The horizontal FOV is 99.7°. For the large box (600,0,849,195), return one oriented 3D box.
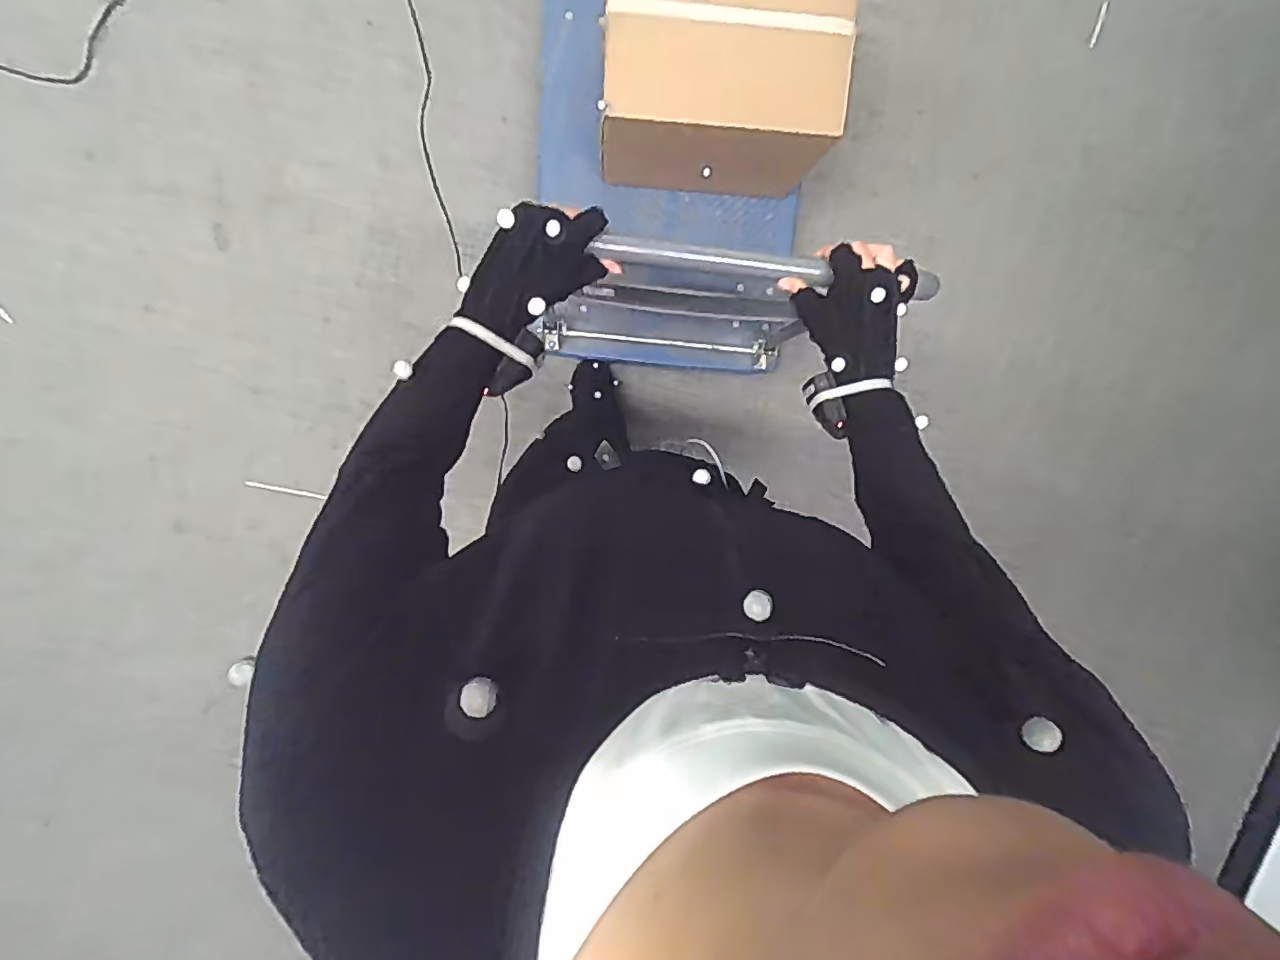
[{"bbox_3d":[0.133,-0.760,1.021,0.408,0.320,0.320,3,99,-3],"label":"large box"}]
